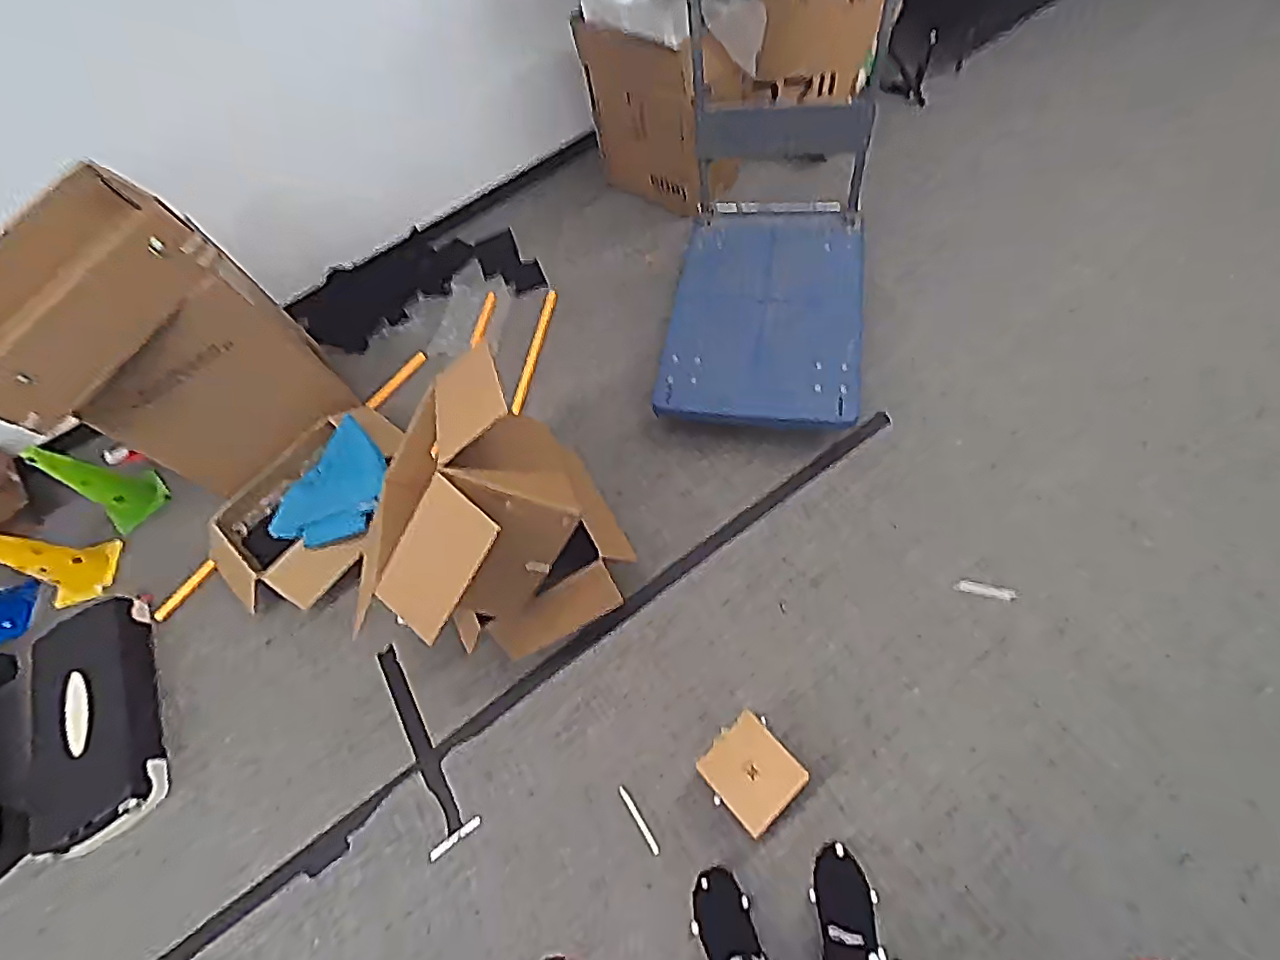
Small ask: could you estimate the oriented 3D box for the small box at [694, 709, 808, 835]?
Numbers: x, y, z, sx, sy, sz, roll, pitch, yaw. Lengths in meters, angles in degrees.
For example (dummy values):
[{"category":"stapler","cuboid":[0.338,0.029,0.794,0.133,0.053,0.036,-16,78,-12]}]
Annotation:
[{"category":"small box","cuboid":[0.242,0.633,1.188,0.168,0.176,0.179,-41,62,-12]}]
